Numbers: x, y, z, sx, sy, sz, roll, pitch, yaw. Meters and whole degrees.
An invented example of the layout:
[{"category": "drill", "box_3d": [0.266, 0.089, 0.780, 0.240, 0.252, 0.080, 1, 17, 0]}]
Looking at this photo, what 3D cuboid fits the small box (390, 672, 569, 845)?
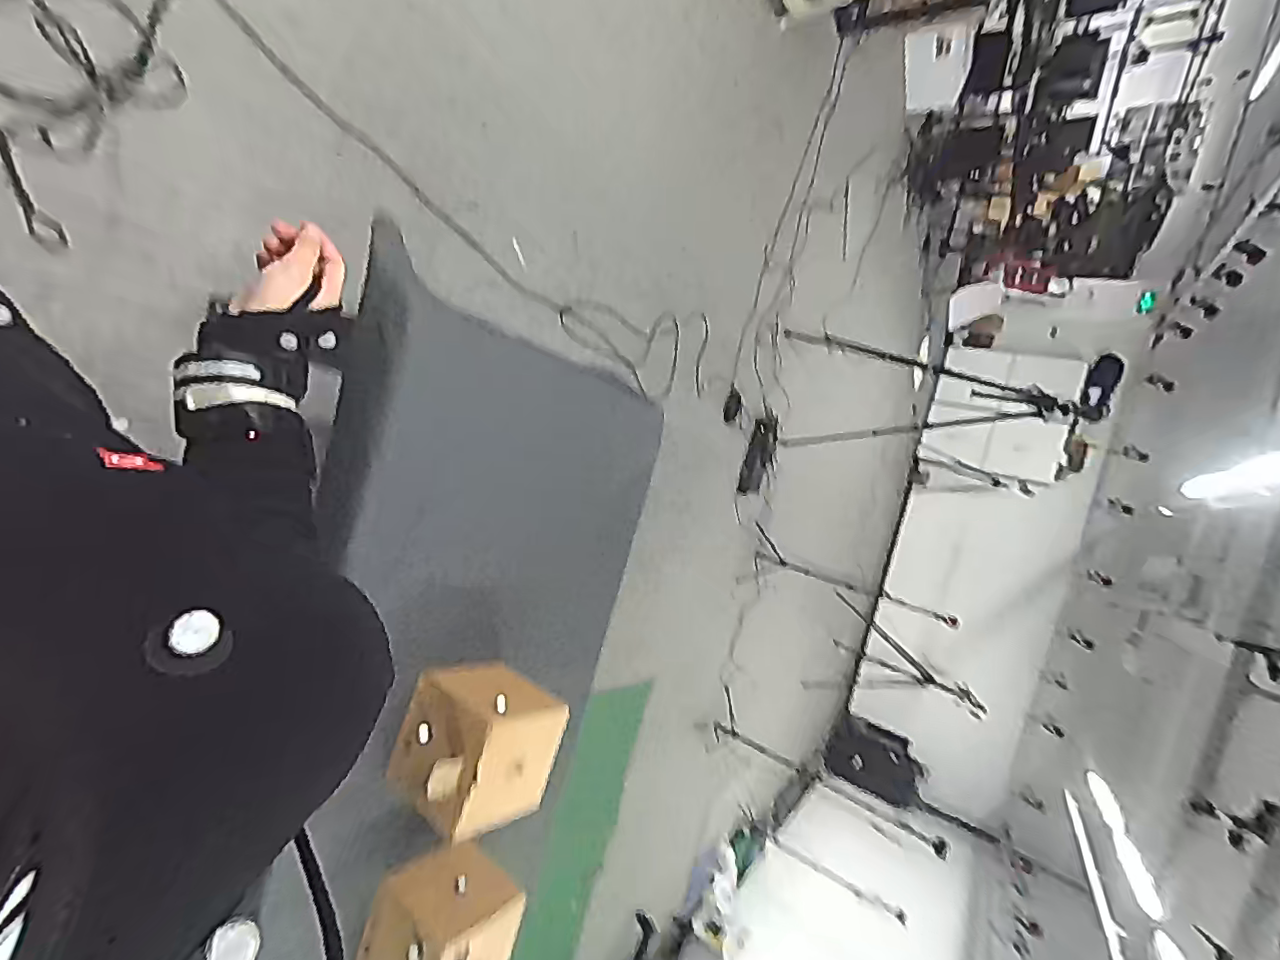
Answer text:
[{"category": "small box", "box_3d": [-0.248, 0.414, 0.845, 0.179, 0.176, 0.168, 23, 85, -56]}]
